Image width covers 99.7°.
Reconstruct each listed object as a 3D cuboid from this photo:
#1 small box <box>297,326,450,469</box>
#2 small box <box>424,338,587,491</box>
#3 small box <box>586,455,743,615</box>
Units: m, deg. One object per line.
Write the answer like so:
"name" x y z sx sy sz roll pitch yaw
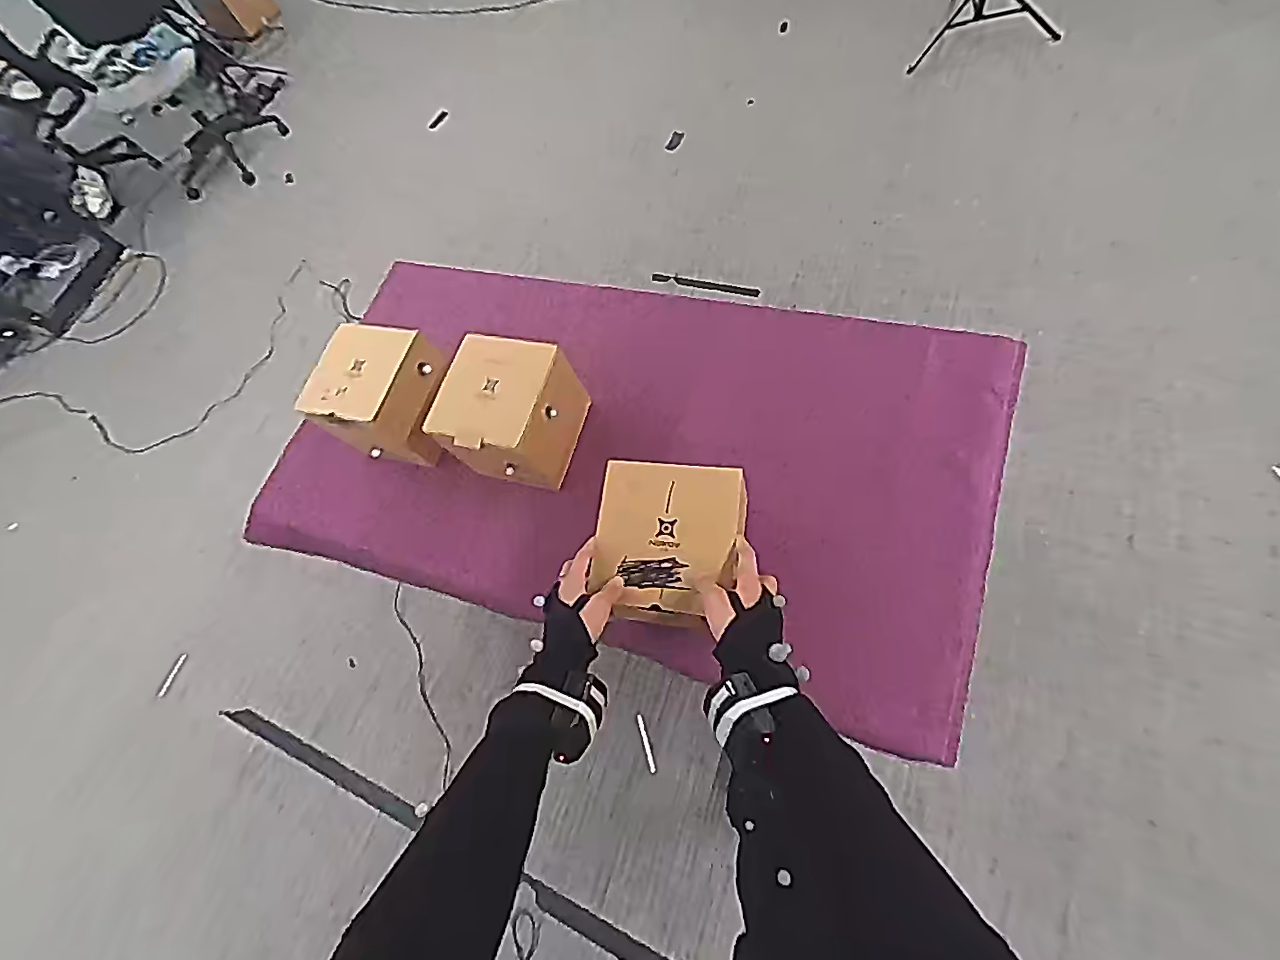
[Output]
"small box" -0.438 -0.141 0.946 0.168 0.176 0.179 10 71 19
"small box" -0.202 -0.099 0.870 0.168 0.176 0.179 12 71 18
"small box" 0.043 0.078 0.708 0.168 0.176 0.179 4 77 14
